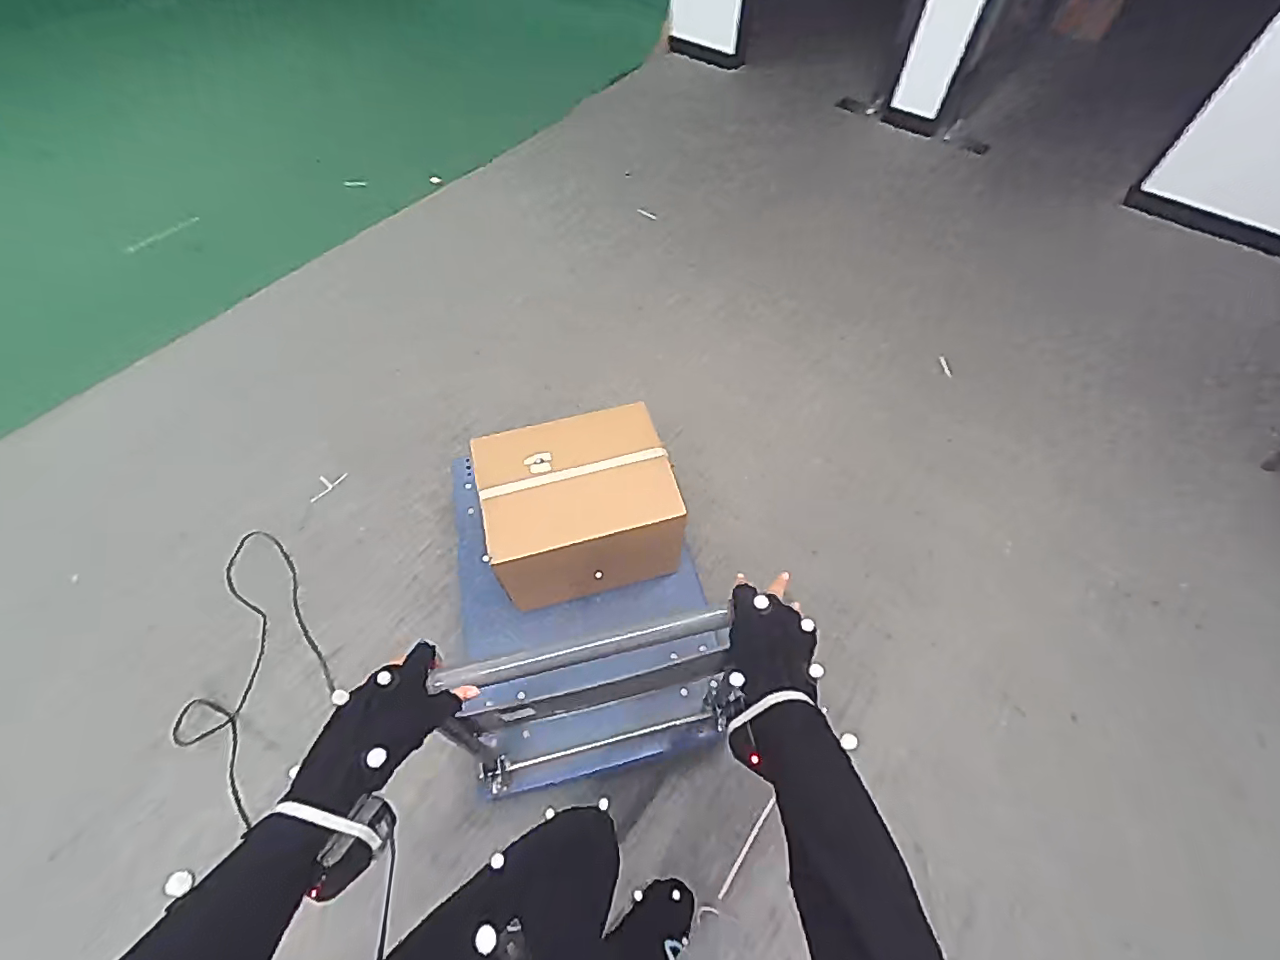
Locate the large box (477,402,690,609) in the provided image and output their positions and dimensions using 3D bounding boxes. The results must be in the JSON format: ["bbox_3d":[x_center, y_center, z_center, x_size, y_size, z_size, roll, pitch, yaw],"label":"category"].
[{"bbox_3d":[-0.128,0.068,1.282,0.408,0.320,0.320,-14,59,-8],"label":"large box"}]
